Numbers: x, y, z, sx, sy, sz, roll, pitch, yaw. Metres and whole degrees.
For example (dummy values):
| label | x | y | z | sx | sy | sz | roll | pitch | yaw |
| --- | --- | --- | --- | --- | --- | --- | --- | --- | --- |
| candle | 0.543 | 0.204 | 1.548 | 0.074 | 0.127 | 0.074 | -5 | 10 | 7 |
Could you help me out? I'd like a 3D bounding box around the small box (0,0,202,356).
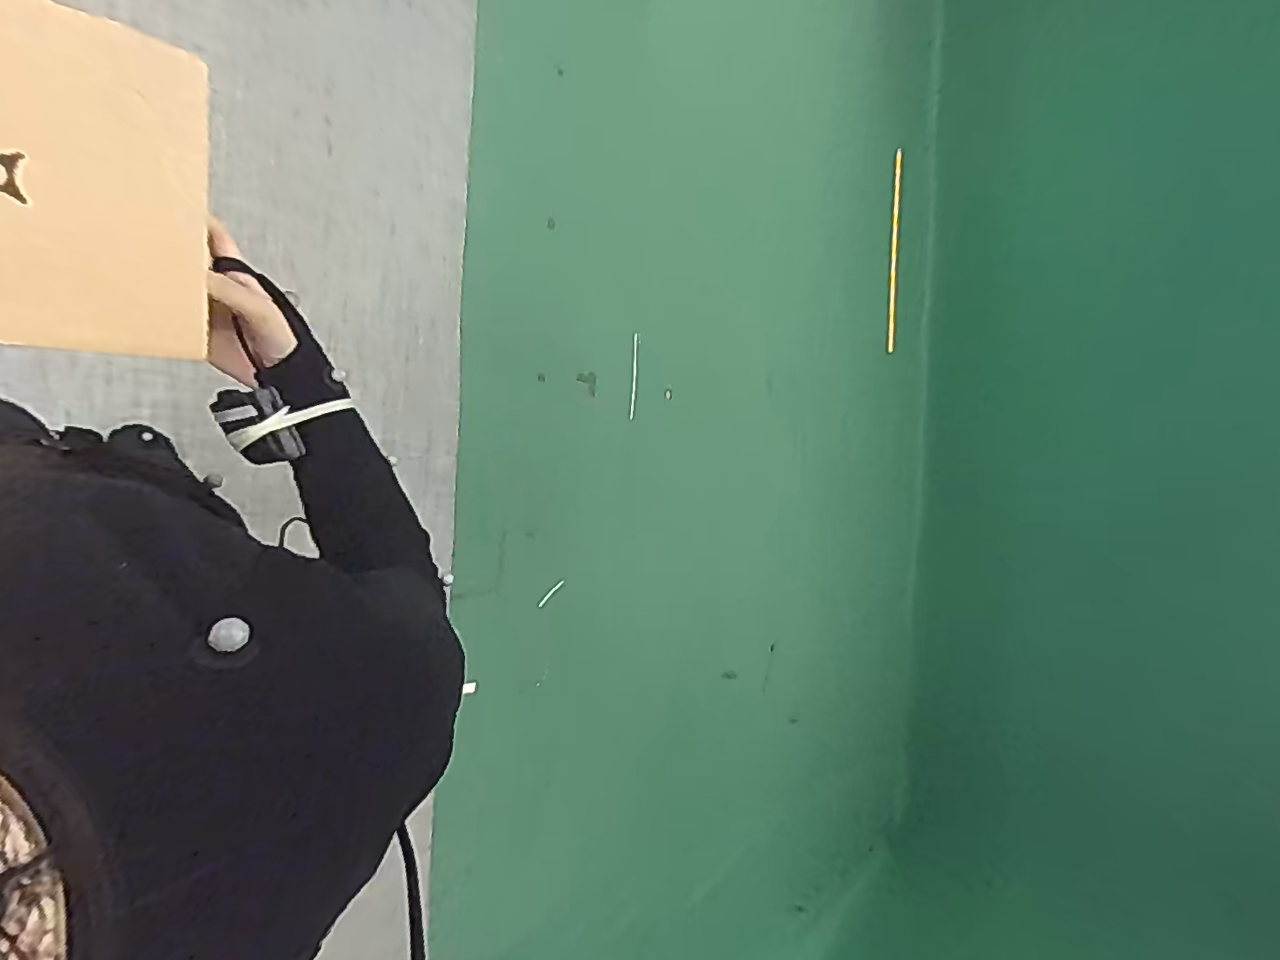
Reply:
| label | x | y | z | sx | sy | sz | roll | pitch | yaw |
| --- | --- | --- | --- | --- | --- | --- | --- | --- | --- |
| small box | -0.374 | -0.175 | 0.299 | 0.179 | 0.176 | 0.168 | -6 | 115 | -49 |
